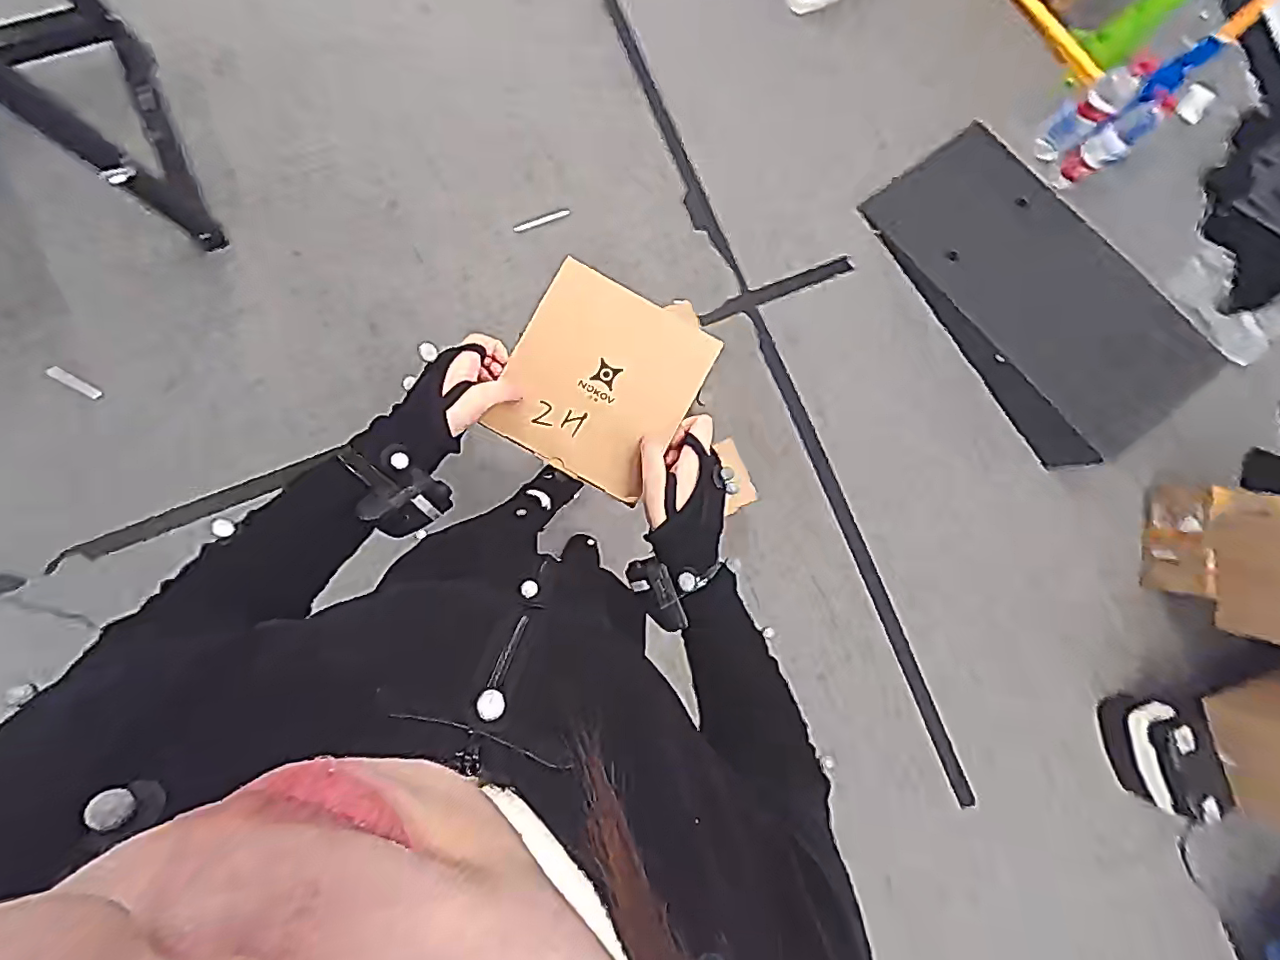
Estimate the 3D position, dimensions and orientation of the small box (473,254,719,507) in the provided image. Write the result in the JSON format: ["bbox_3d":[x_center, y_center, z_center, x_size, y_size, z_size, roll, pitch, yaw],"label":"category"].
[{"bbox_3d":[-0.042,-0.089,0.560,0.168,0.176,0.179,28,90,-1],"label":"small box"}]

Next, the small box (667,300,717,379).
[{"bbox_3d":[0.056,-0.294,1.273,0.179,0.176,0.168,-21,91,-8],"label":"small box"}]

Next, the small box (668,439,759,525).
[{"bbox_3d":[0.189,0.006,1.439,0.168,0.176,0.179,-23,91,-7],"label":"small box"}]
